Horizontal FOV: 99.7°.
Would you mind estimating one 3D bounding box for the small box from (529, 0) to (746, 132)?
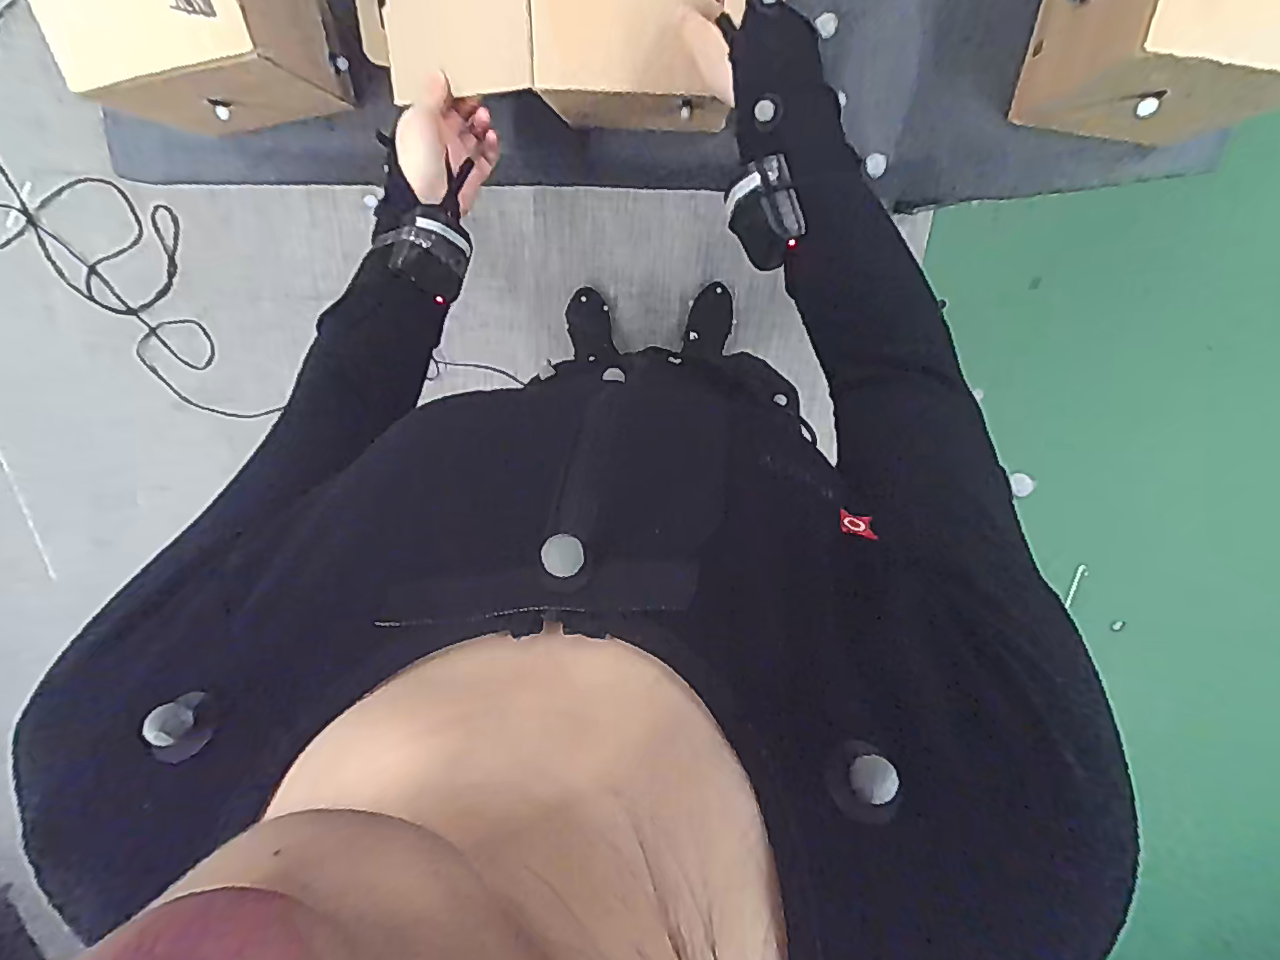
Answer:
[{"bbox_3d":[0.004,-0.428,0.494,0.179,0.176,0.168,2,114,3],"label":"small box"}]

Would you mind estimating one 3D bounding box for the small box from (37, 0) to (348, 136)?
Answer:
[{"bbox_3d":[-0.407,-0.444,0.505,0.179,0.176,0.168,-8,112,6],"label":"small box"}]

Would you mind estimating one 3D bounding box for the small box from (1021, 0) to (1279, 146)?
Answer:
[{"bbox_3d":[0.489,-0.418,0.476,0.179,0.176,0.168,8,107,0],"label":"small box"}]
